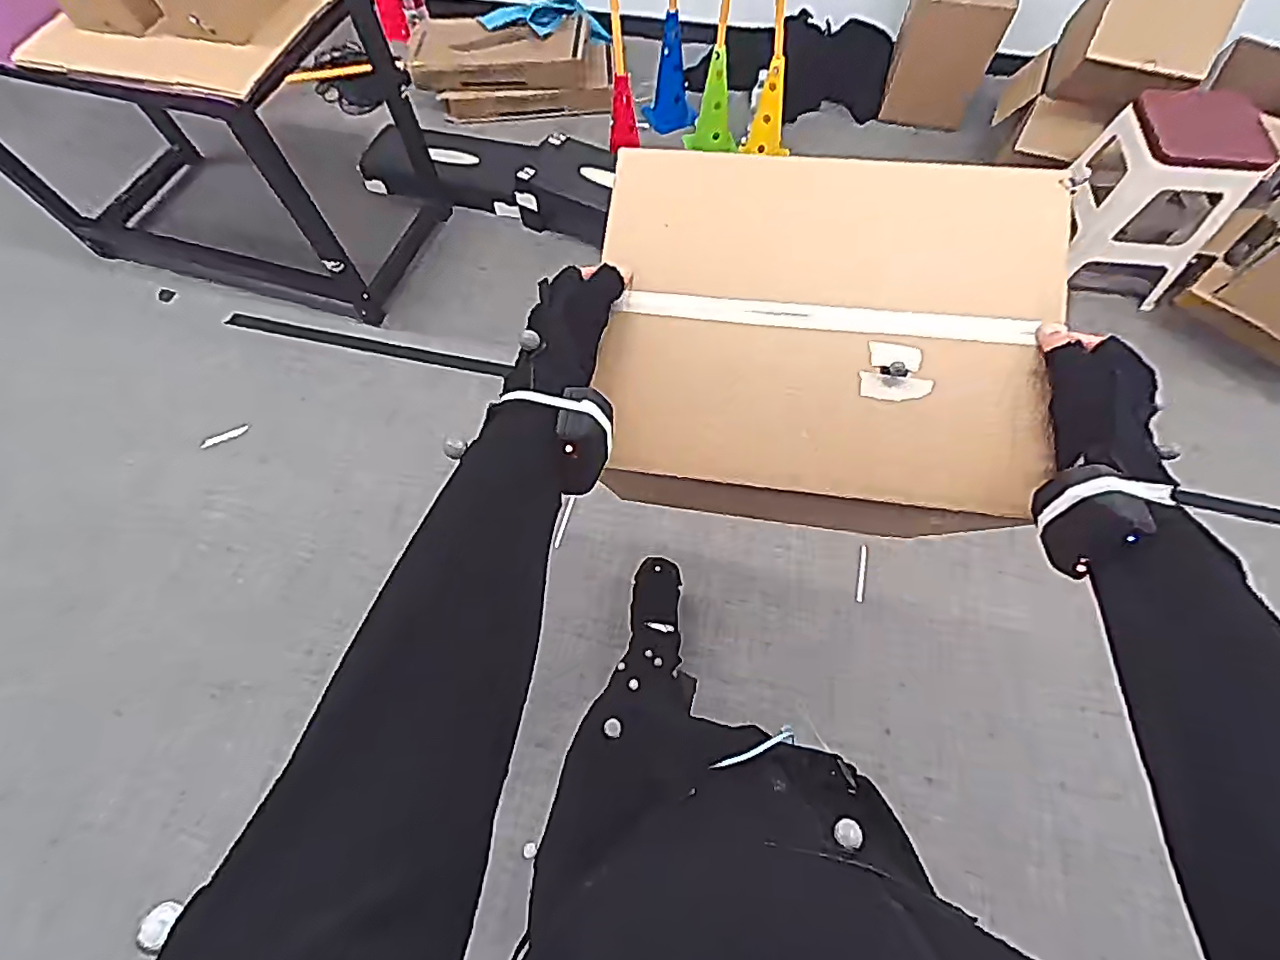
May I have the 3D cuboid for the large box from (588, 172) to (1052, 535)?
[{"bbox_3d":[0.177,-0.117,0.646,0.408,0.320,0.320,7,83,7],"label":"large box"}]
